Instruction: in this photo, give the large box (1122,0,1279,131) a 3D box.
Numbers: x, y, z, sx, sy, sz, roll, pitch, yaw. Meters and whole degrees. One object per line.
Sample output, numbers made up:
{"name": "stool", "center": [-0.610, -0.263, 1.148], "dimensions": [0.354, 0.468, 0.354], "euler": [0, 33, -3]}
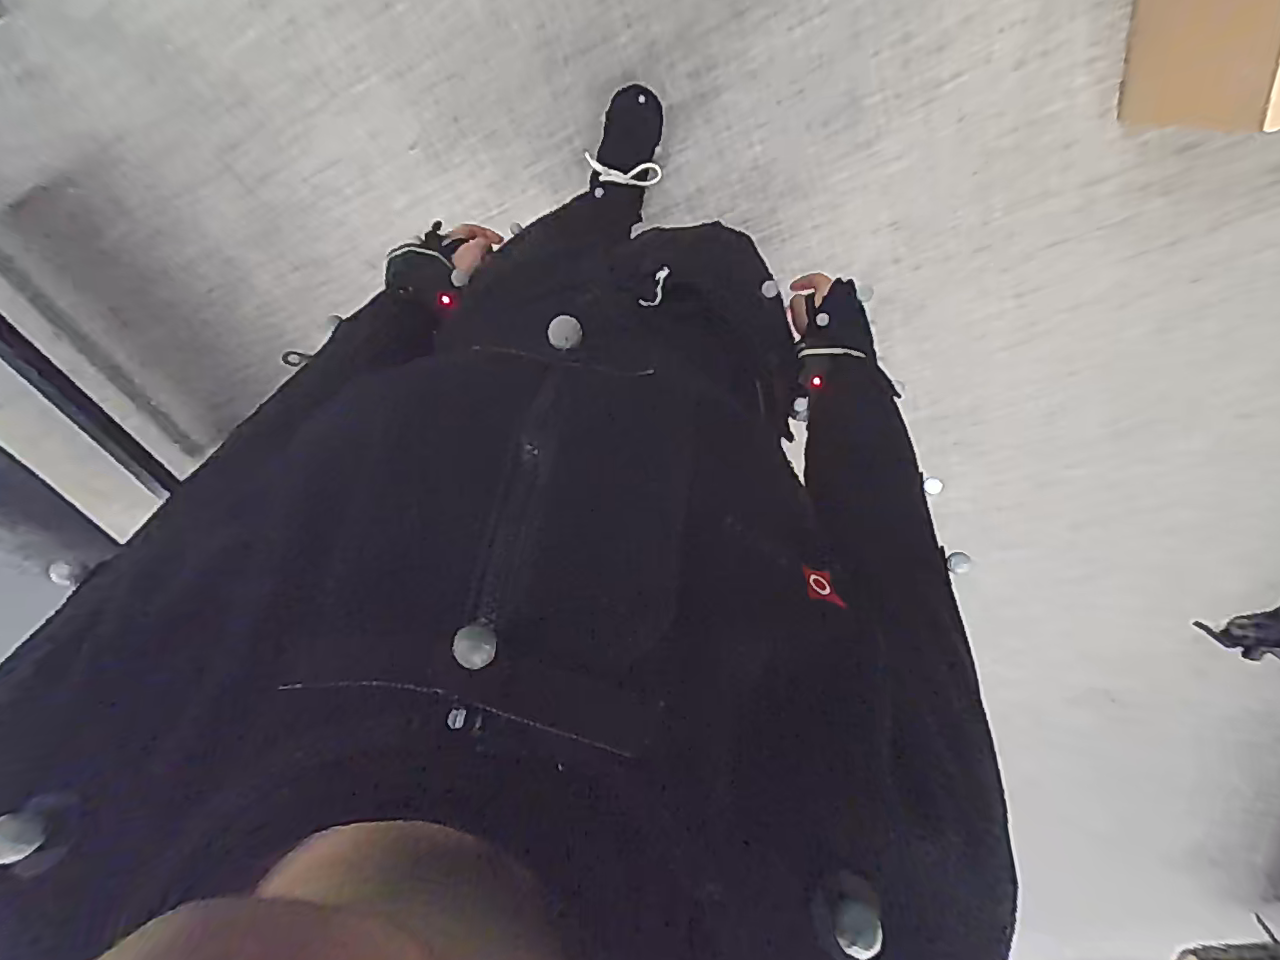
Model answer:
{"name": "large box", "center": [0.958, -0.771, 0.743], "dimensions": [0.320, 0.320, 0.408], "euler": [-14, 125, 15]}
